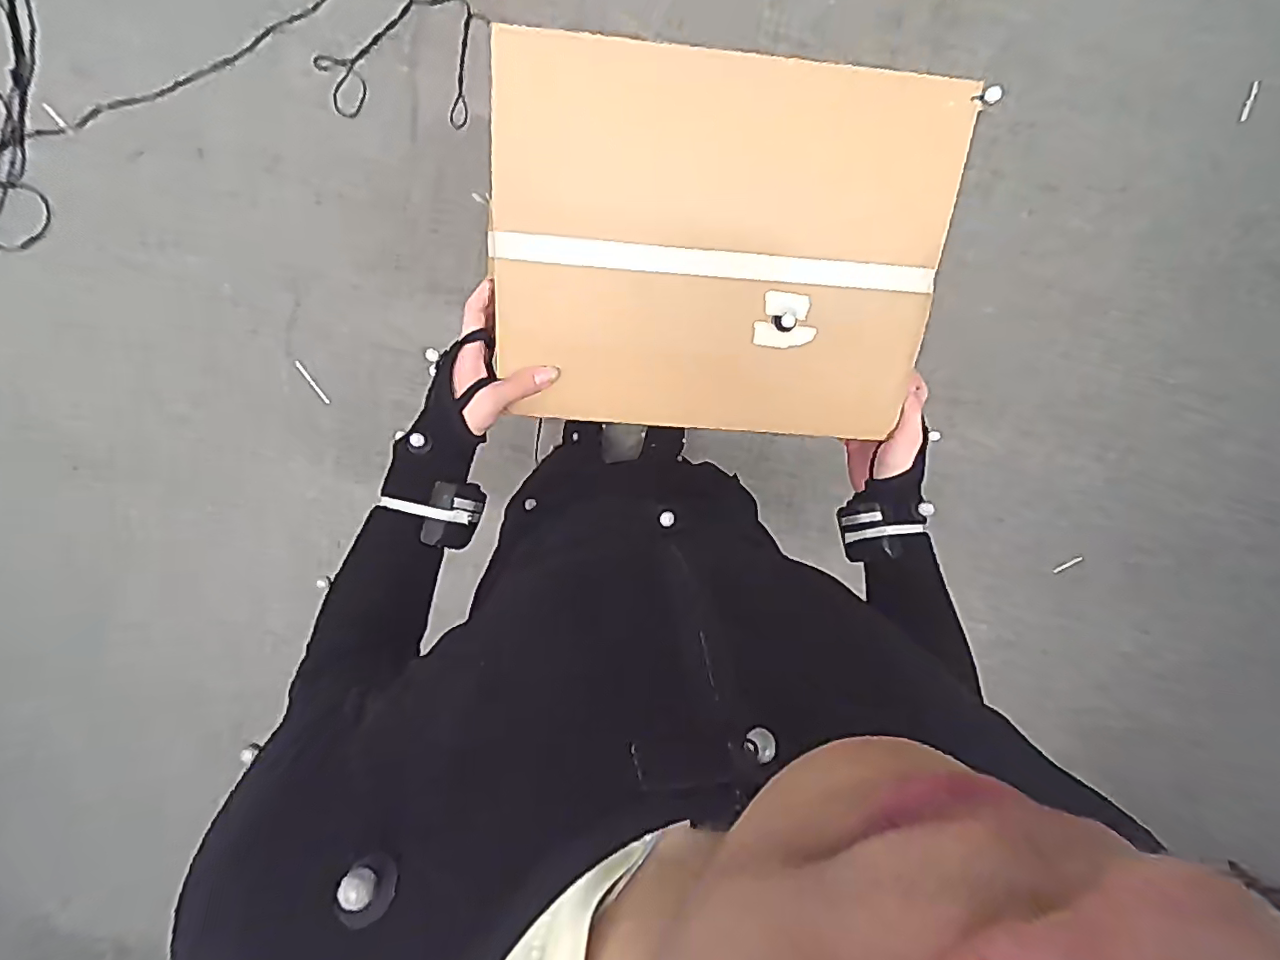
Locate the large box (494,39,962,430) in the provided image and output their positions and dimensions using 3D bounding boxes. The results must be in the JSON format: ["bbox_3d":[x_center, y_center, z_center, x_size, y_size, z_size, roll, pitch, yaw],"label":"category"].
[{"bbox_3d":[0.060,-0.254,0.638,0.408,0.320,0.320,3,111,-5],"label":"large box"}]
